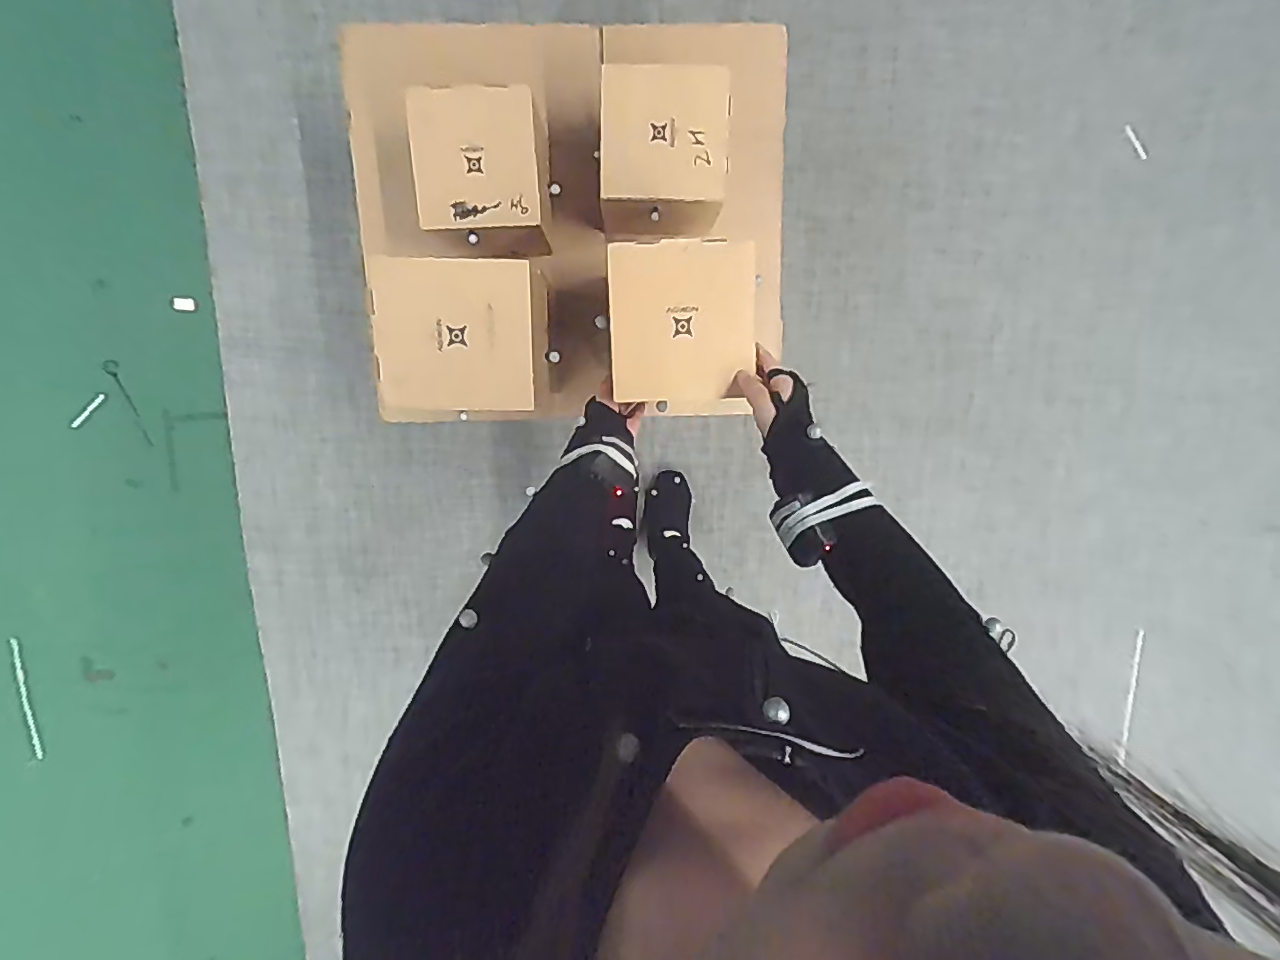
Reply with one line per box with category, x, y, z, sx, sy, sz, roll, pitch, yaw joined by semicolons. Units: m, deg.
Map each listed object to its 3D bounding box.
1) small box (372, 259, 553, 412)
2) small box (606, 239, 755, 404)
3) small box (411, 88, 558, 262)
small box;-0.208;-0.173;0.680;0.179;0.176;0.168;0;101;-2
small box;0.047;-0.189;0.682;0.168;0.176;0.179;-2;99;0
small box;-0.217;-0.436;0.799;0.168;0.176;0.179;-2;99;1
